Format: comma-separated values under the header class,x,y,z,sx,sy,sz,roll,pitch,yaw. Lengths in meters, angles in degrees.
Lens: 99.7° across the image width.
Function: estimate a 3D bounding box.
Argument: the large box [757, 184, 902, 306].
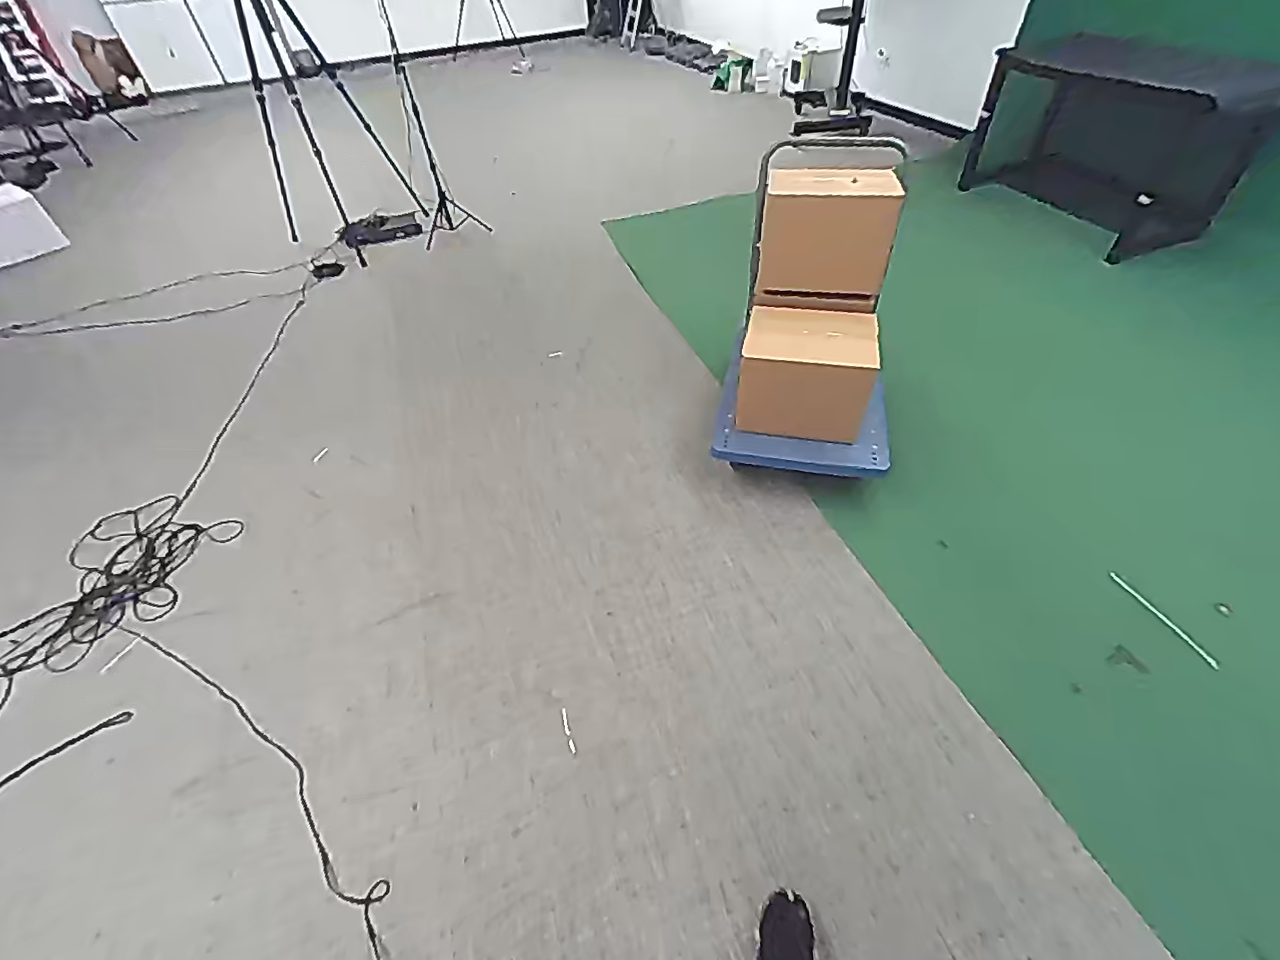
class,x,y,z,sx,sy,sz,roll,pitch,yaw
large box,0.625,-0.813,1.860,0.408,0.320,0.320,7,42,10
